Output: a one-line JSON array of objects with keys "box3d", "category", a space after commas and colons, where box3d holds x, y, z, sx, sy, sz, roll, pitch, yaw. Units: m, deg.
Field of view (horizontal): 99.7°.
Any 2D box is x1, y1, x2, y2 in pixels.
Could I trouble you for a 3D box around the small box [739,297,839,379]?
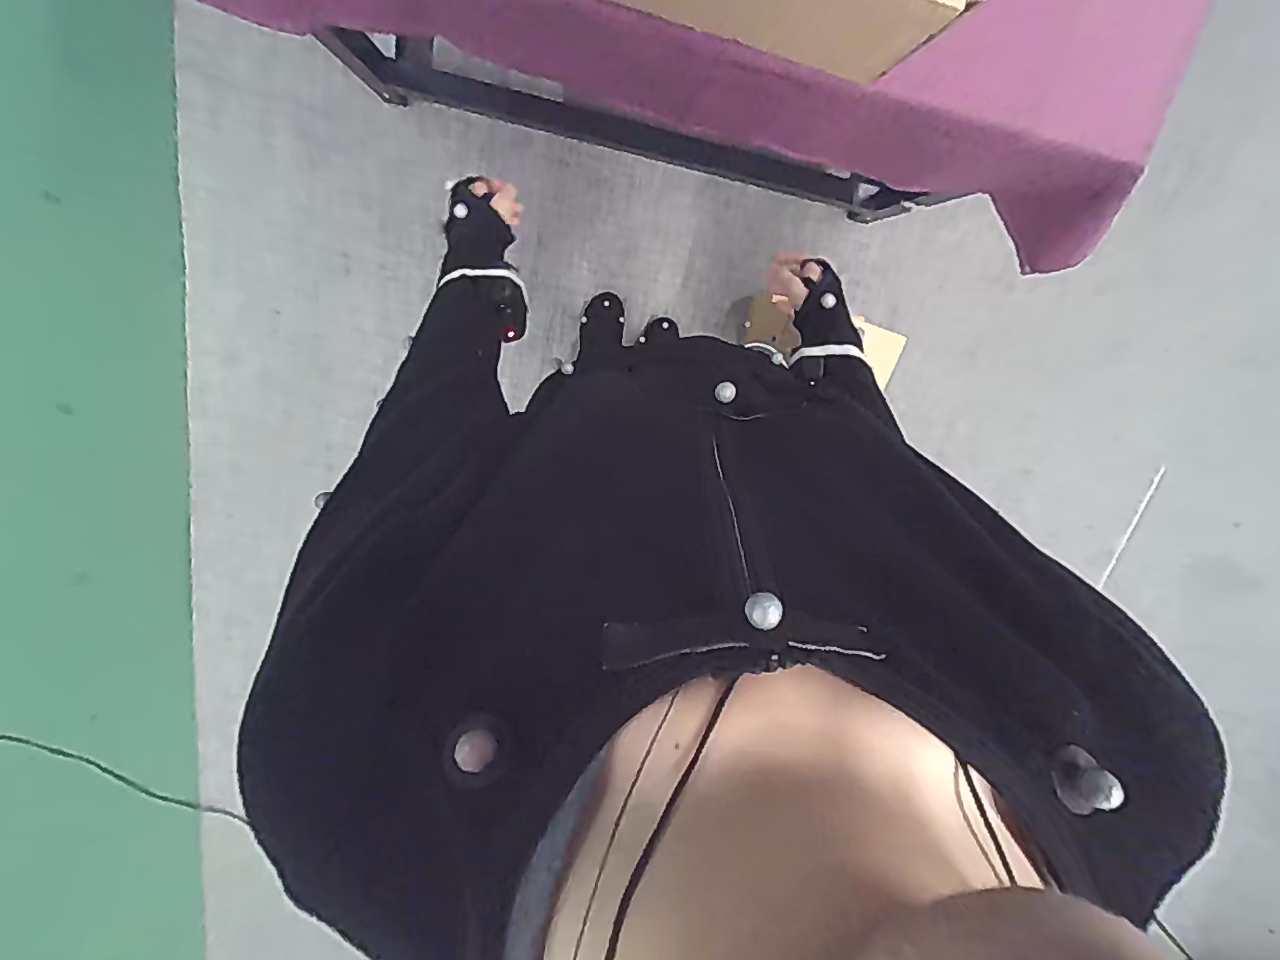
[{"box3d": [0.367, -0.361, 1.363, 0.179, 0.176, 0.168, 10, 107, -5], "category": "small box"}]
